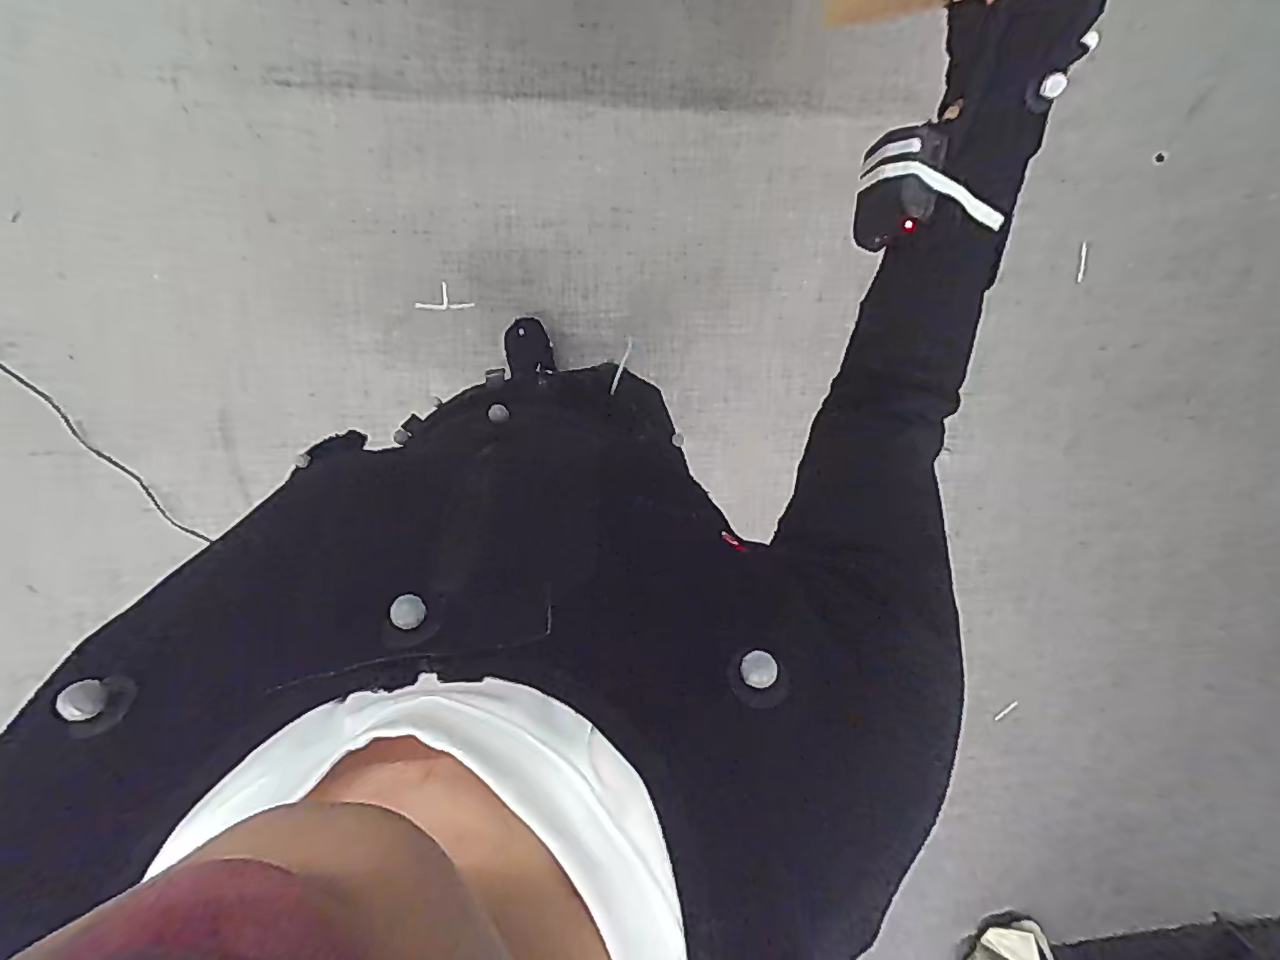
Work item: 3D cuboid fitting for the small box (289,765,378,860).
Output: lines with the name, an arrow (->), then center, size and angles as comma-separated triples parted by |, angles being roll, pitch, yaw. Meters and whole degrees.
small box -> -0.837, 0.914, 1.487 | 0.179, 0.176, 0.168 | 0, 101, -7

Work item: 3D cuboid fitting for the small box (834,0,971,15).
small box -> 0.233, -0.482, 0.377 | 0.168, 0.176, 0.179 | -10, 104, -3

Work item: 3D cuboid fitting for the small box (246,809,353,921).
small box -> -0.824, 0.947, 1.327 | 0.168, 0.176, 0.179 | 1, 101, -7
